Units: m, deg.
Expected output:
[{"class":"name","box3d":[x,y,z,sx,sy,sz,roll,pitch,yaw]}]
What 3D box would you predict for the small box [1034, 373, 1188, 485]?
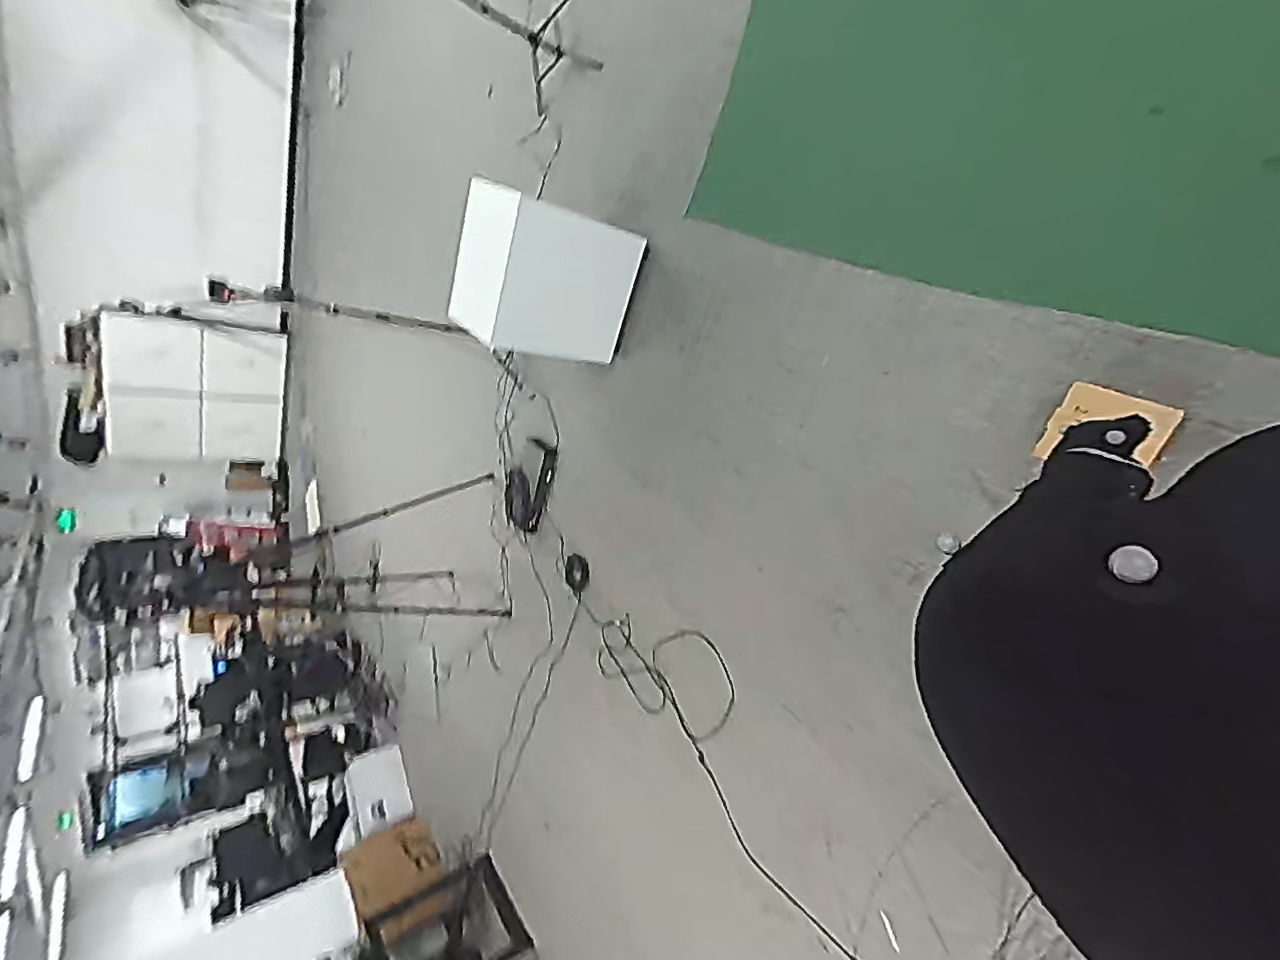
[{"class":"small box","box3d":[0.948,-0.105,1.088,0.179,0.176,0.168,36,117,40]}]
